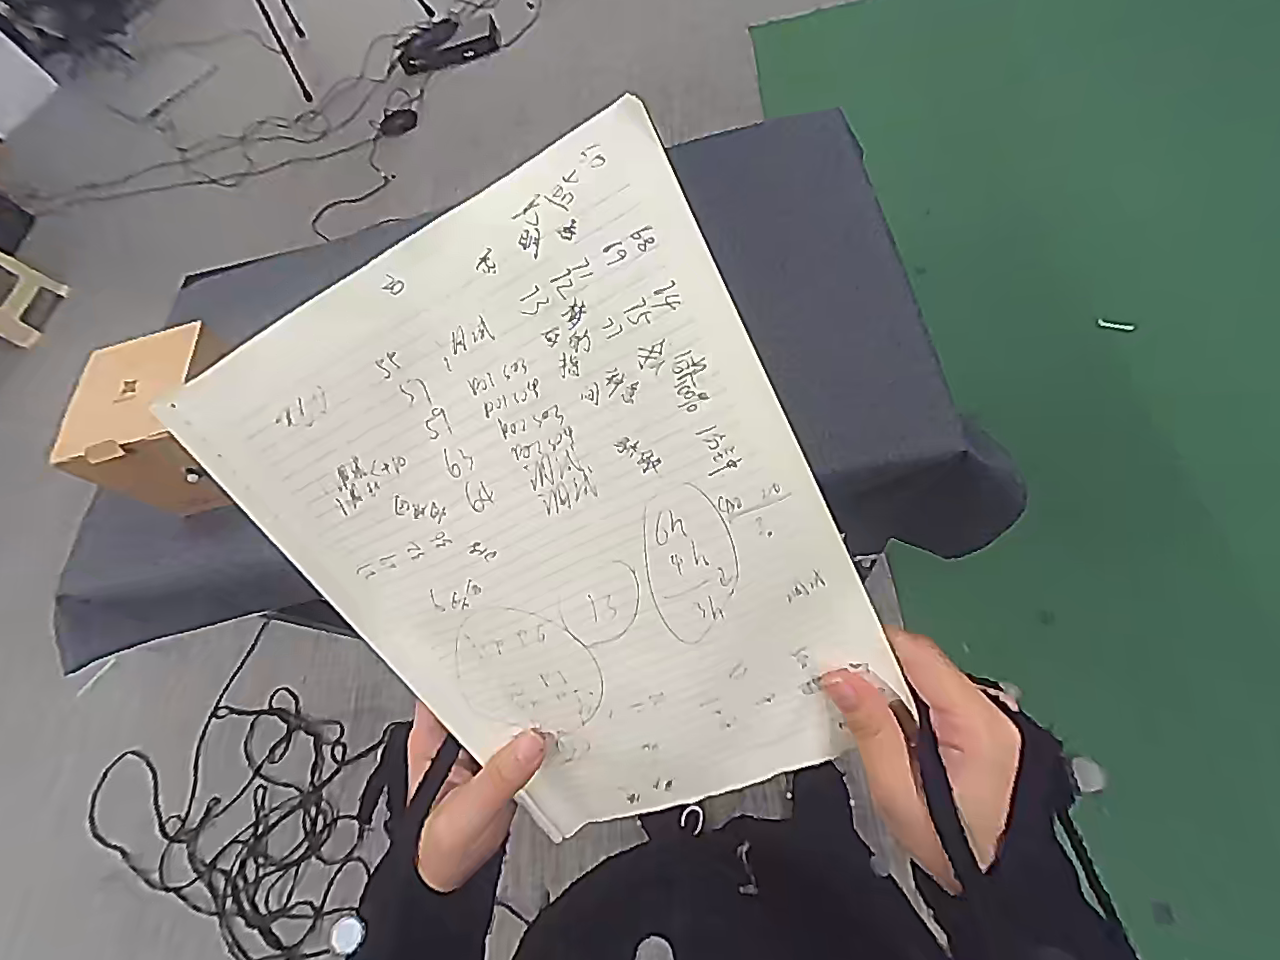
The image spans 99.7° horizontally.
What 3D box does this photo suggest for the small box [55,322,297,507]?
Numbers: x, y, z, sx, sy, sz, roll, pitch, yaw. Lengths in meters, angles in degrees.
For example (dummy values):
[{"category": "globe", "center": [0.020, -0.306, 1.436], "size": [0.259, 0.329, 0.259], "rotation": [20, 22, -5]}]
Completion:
[{"category": "small box", "center": [-0.605, -0.076, 0.734], "size": [0.168, 0.176, 0.179], "rotation": [-13, 61, 6]}]
